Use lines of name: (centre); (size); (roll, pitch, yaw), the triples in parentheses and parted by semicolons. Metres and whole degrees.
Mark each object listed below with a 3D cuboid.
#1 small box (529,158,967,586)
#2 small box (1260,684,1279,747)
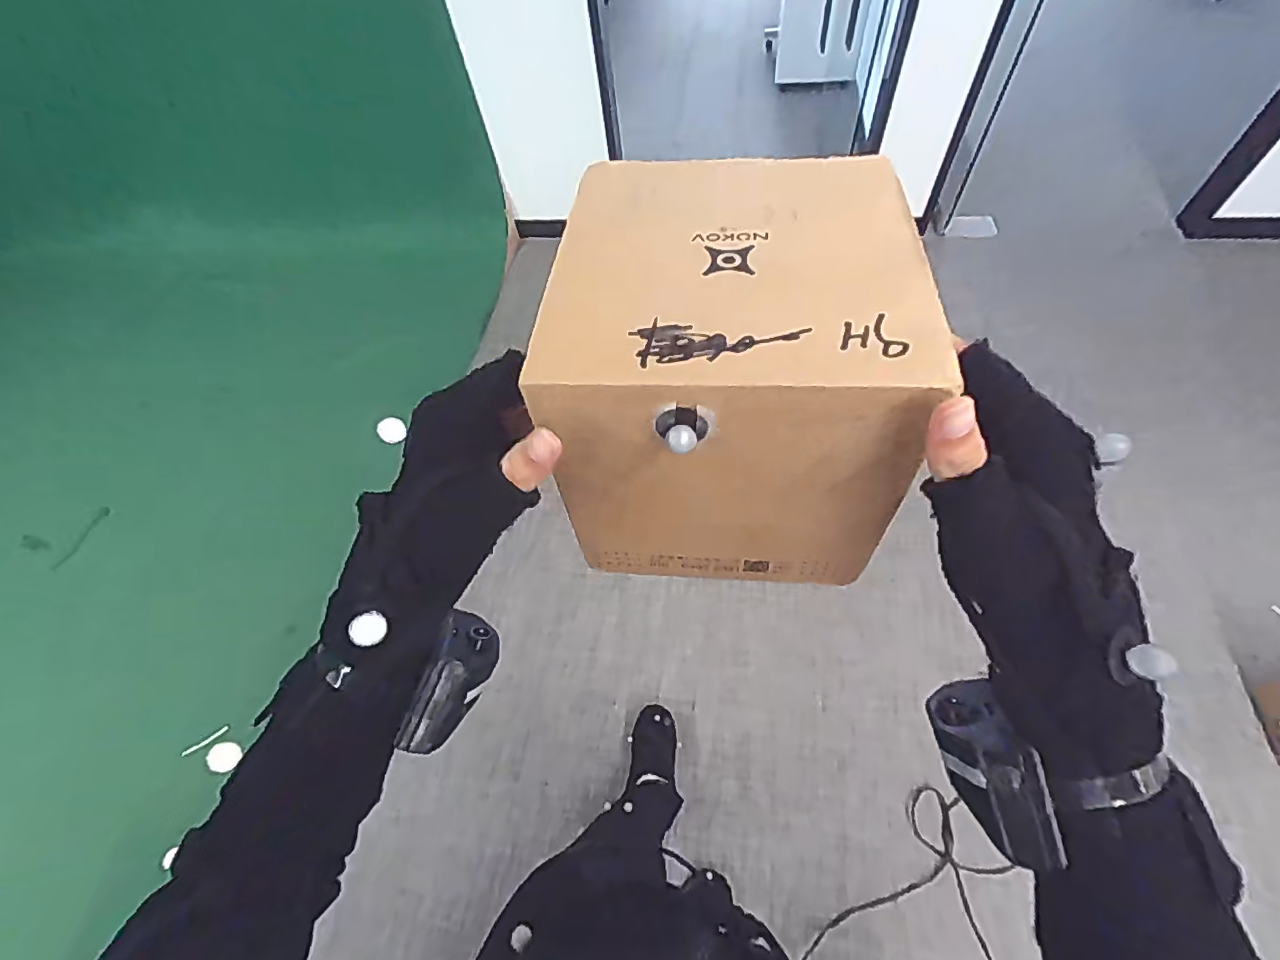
small box: (0.052, -0.058, 0.314); (0.168, 0.176, 0.179); (2, 55, 8)
small box: (1.462, 0.501, 1.103); (0.179, 0.176, 0.168); (5, 59, 10)
